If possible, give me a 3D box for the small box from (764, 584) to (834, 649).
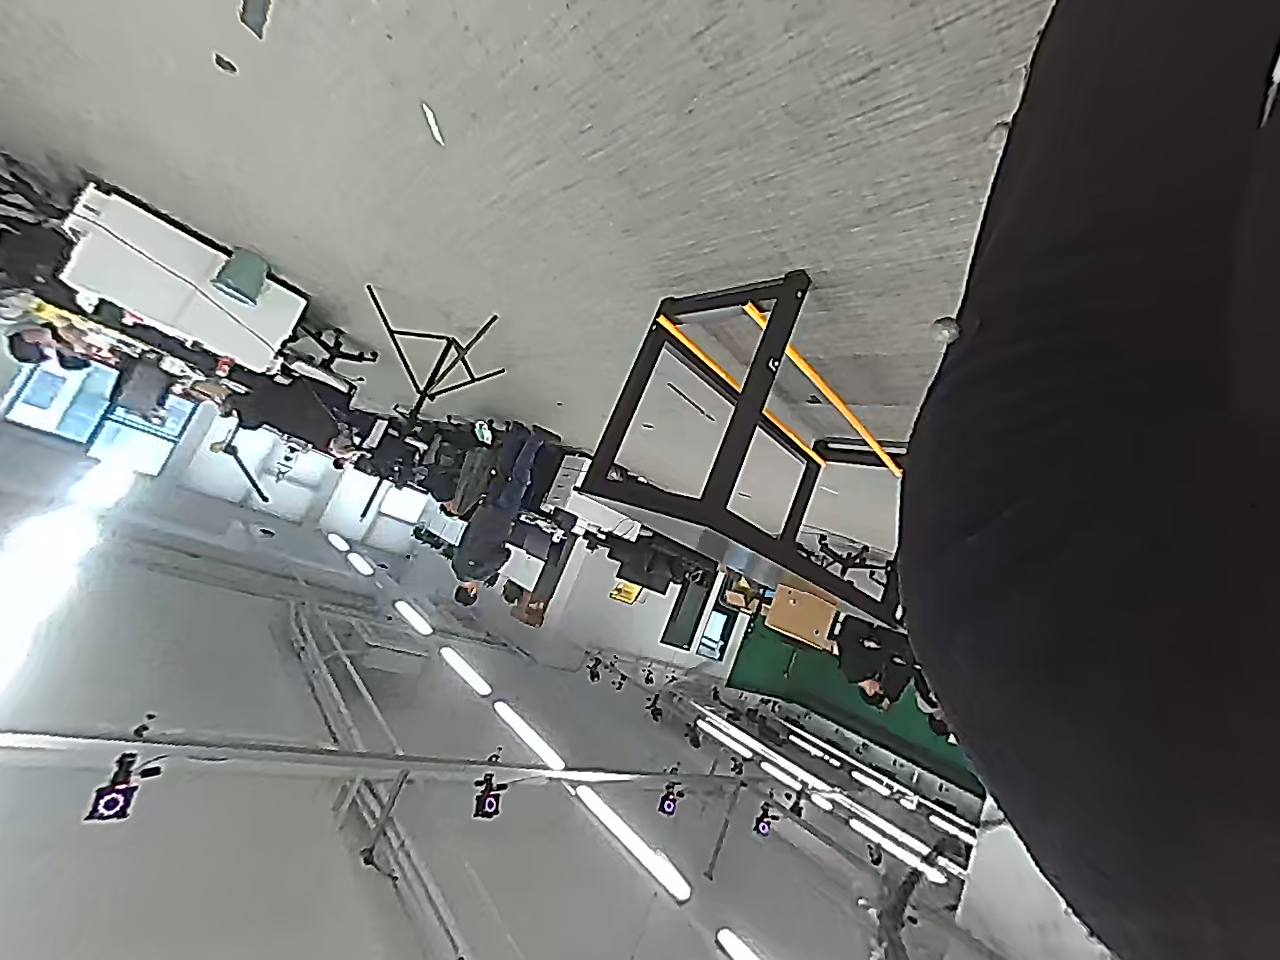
[{"bbox_3d":[0.613,0.518,2.064,0.179,0.176,0.168,31,168,-37],"label":"small box"}]
